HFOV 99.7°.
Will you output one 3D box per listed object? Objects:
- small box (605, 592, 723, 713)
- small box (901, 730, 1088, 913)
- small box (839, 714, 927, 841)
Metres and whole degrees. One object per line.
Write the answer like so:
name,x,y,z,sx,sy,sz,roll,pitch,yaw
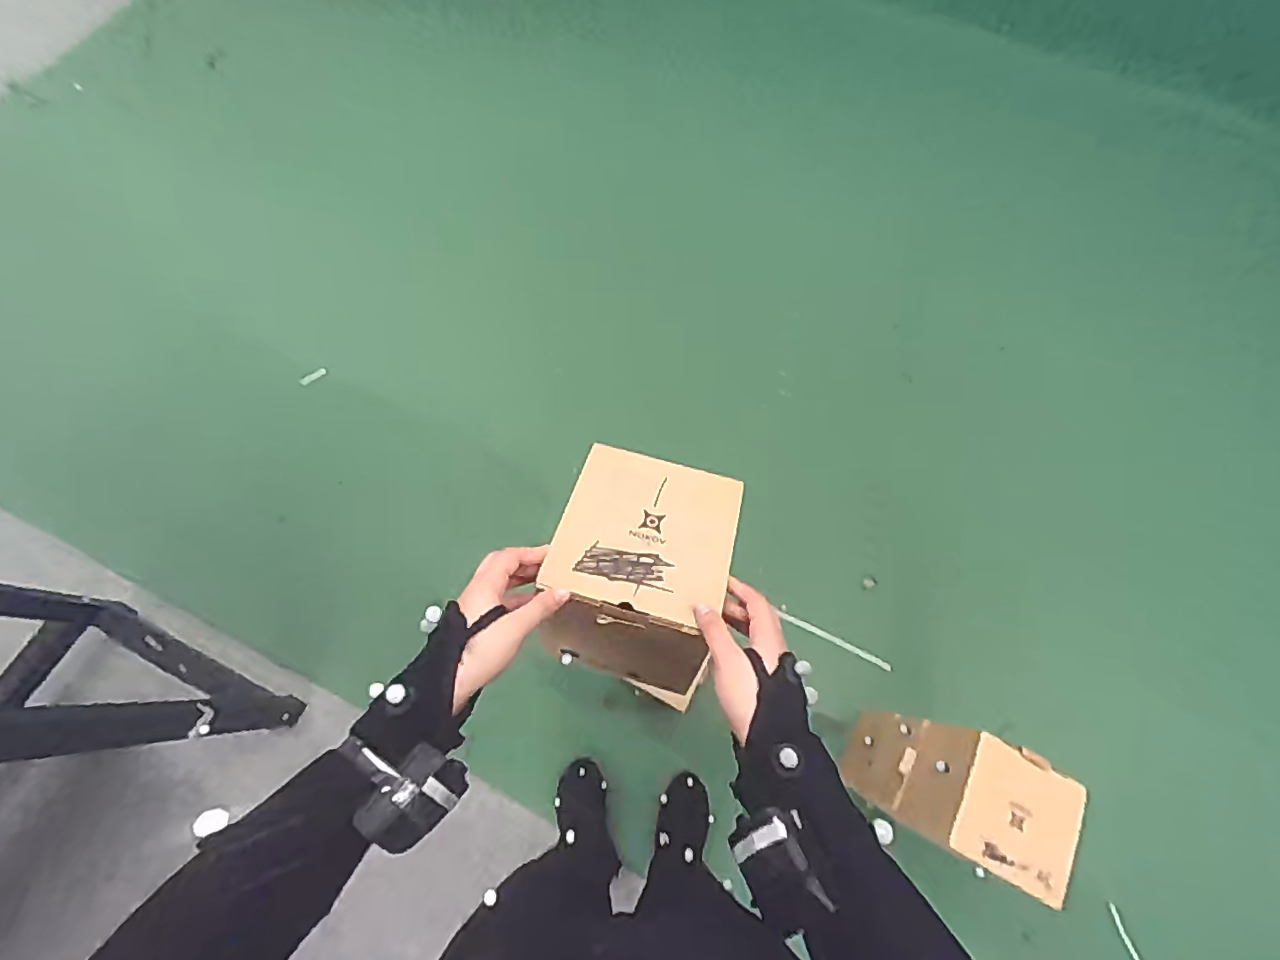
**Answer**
small box,0.046,0.351,1.095,0.179,0.176,0.168,26,72,8
small box,0.553,0.524,0.864,0.168,0.176,0.179,29,71,8
small box,0.558,0.634,1.175,0.168,0.176,0.179,32,72,10
